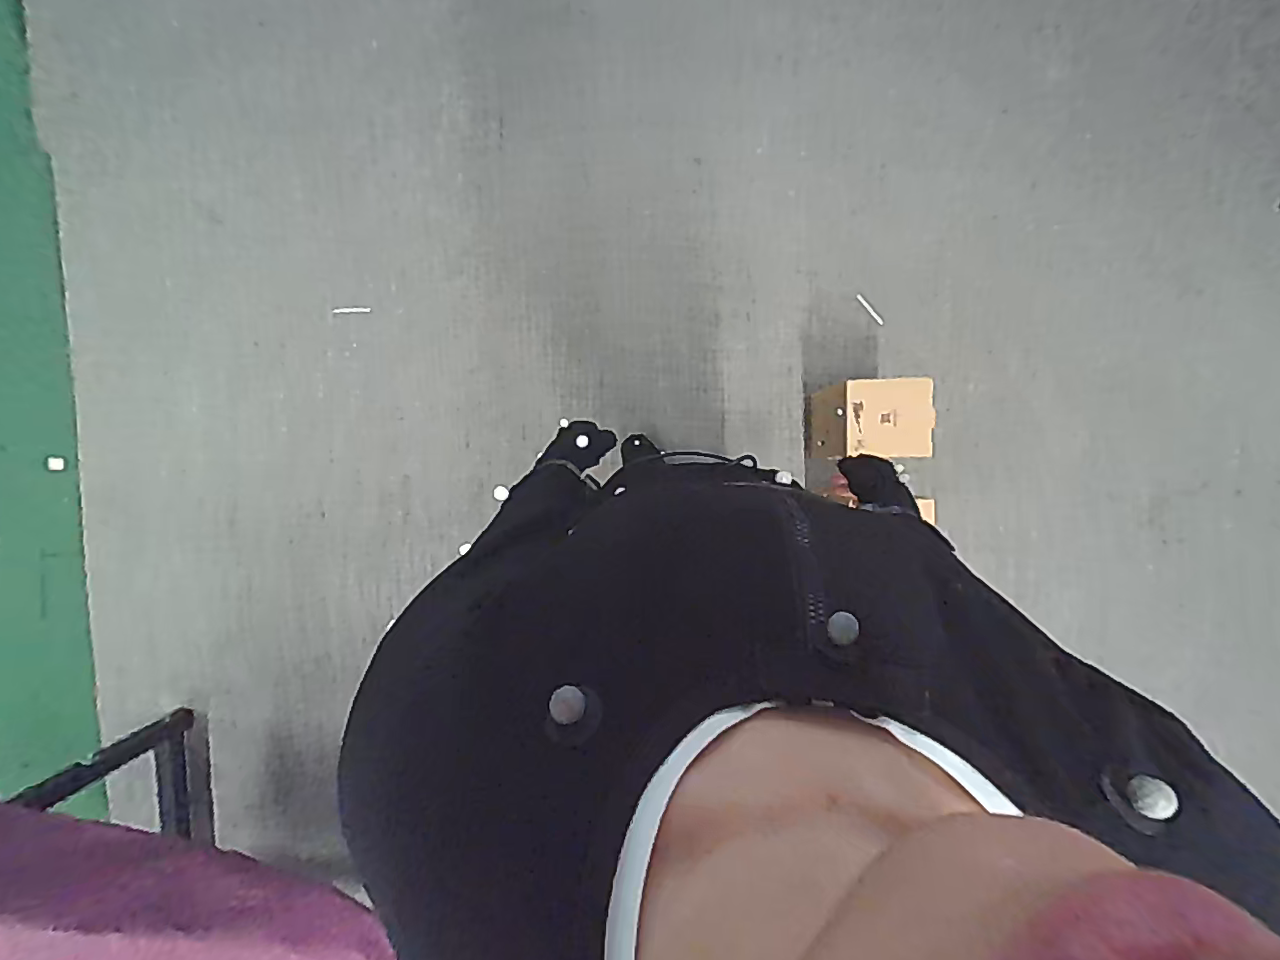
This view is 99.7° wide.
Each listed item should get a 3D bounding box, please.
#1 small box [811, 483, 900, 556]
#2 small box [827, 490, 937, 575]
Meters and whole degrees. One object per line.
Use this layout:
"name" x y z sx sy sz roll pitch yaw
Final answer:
"small box" 0.536 0.097 1.366 0.179 0.176 0.168 -1 94 4
"small box" 0.530 0.110 1.201 0.179 0.176 0.168 -1 93 4
